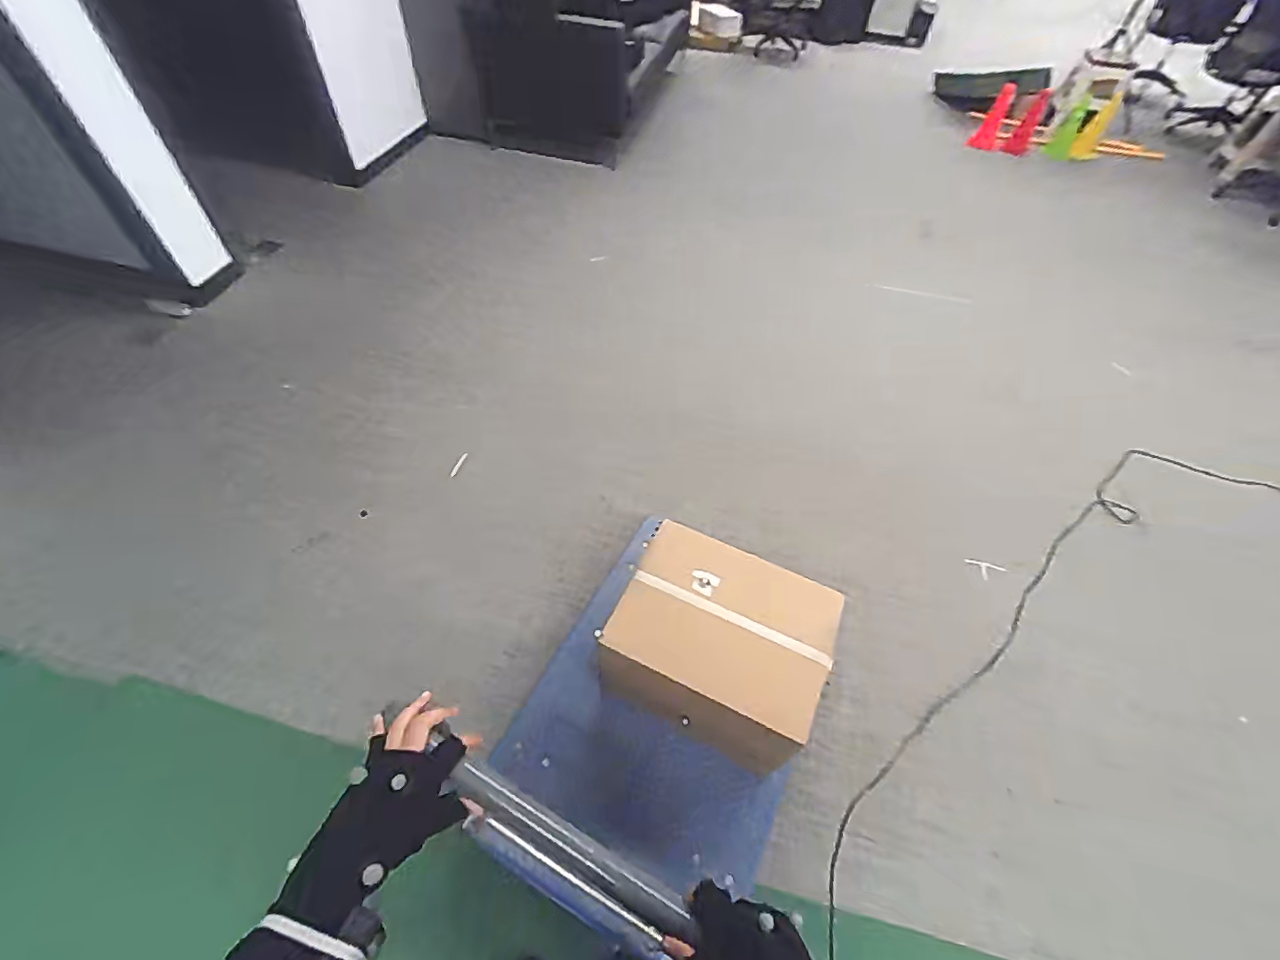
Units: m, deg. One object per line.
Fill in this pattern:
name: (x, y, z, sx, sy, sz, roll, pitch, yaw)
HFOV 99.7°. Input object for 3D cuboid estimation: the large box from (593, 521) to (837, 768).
large box: (0.152, 0.354, 1.164, 0.408, 0.320, 0.320, 22, 54, 15)
